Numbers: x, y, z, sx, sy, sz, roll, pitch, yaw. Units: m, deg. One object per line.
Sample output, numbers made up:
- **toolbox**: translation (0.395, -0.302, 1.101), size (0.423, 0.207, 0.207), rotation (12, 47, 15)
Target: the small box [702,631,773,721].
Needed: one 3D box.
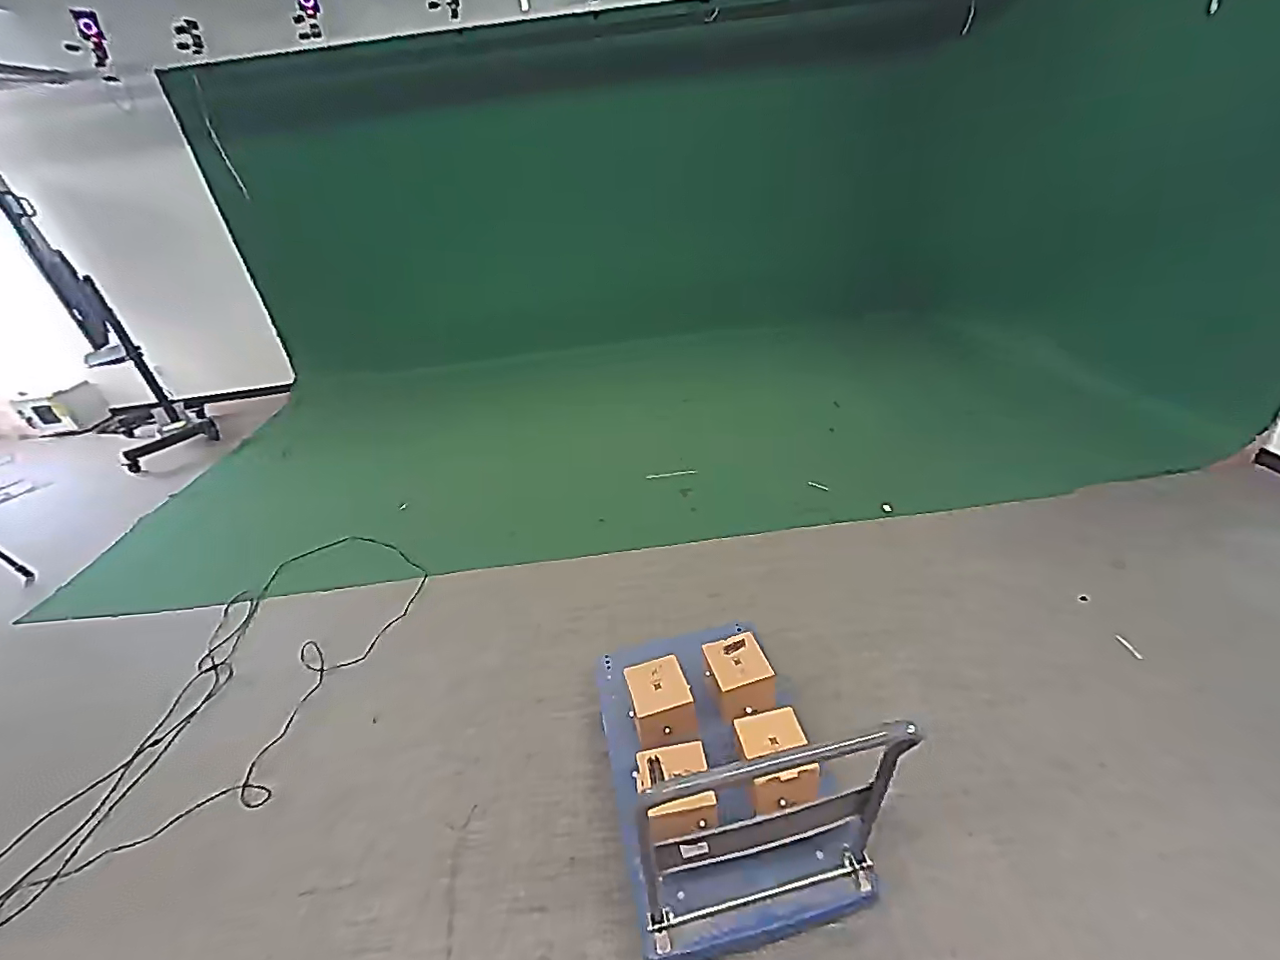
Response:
- **small box**: translation (0.298, 0.608, 1.678), size (0.168, 0.176, 0.179), rotation (-14, 34, -9)

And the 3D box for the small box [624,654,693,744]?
- **small box**: translation (0.057, 0.667, 1.635), size (0.168, 0.176, 0.179), rotation (-13, 33, -10)

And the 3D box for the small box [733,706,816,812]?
- **small box**: translation (0.354, 0.747, 1.453), size (0.168, 0.176, 0.179), rotation (-11, 33, -6)
